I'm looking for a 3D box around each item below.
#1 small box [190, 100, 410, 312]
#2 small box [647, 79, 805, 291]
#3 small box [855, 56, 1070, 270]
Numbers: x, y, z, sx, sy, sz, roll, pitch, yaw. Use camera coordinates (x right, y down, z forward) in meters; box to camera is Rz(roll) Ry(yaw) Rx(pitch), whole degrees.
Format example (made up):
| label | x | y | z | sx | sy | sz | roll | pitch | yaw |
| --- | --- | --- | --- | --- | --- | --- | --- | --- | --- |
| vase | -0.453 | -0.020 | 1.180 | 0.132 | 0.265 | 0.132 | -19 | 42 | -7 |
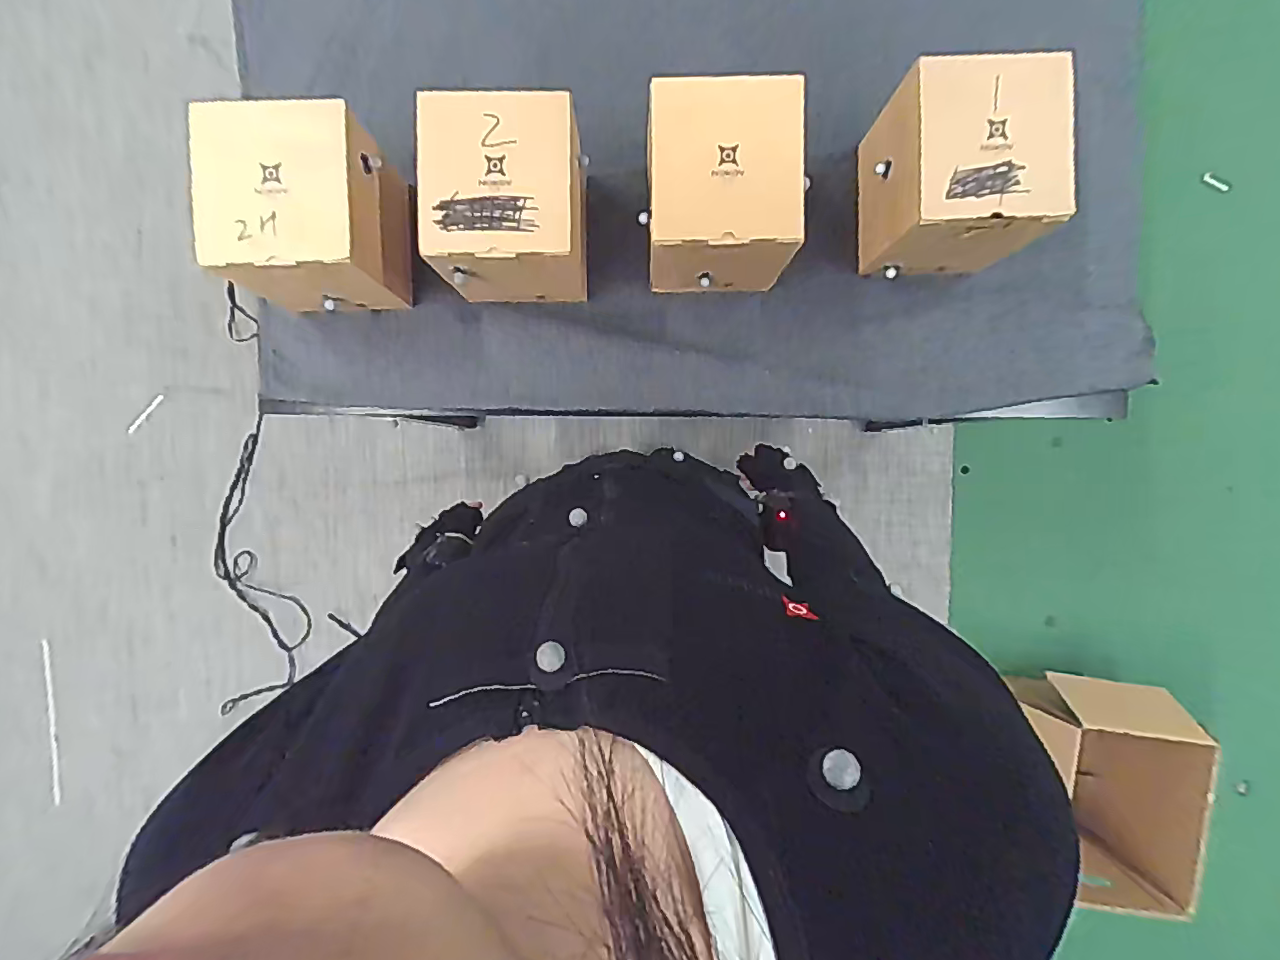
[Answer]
| label | x | y | z | sx | sy | sz | roll | pitch | yaw |
| --- | --- | --- | --- | --- | --- | --- | --- | --- | --- |
| small box | -0.393 | -0.316 | 0.653 | 0.168 | 0.176 | 0.179 | -2 | 91 | -1 |
| small box | 0.094 | -0.345 | 0.661 | 0.168 | 0.176 | 0.179 | -1 | 93 | -1 |
| small box | 0.376 | -0.366 | 0.659 | 0.168 | 0.176 | 0.179 | -1 | 92 | 0 |
